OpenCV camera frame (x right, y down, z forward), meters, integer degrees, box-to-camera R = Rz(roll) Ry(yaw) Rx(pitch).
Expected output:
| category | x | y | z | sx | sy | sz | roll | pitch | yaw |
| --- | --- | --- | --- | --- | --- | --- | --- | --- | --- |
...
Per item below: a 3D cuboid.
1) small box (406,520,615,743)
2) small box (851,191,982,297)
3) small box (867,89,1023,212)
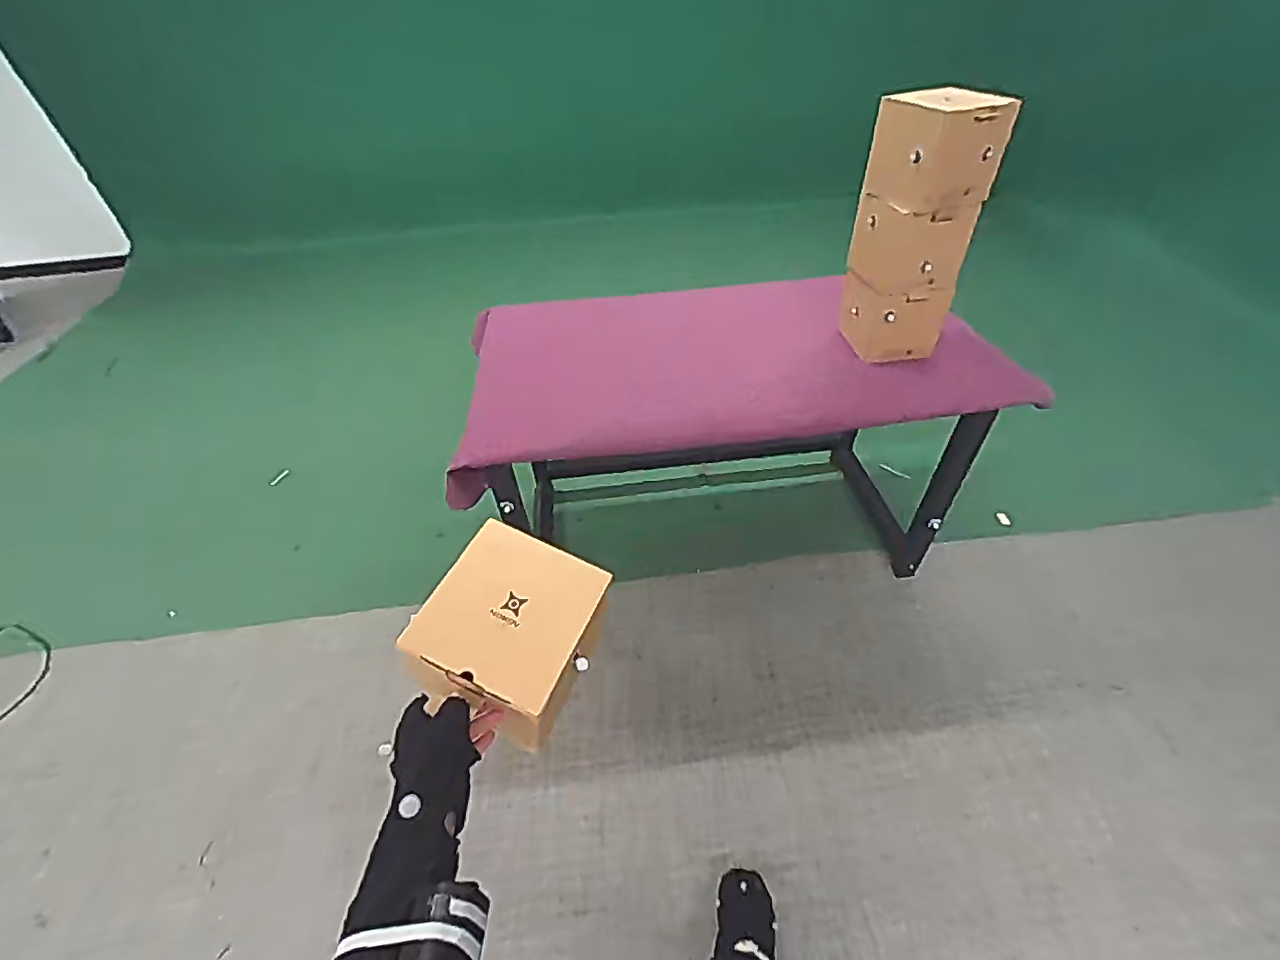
| category | x | y | z | sx | sy | sz | roll | pitch | yaw |
| --- | --- | --- | --- | --- | --- | --- | --- | --- | --- |
| small box | -0.148 | 0.187 | 0.654 | 0.168 | 0.176 | 0.179 | 24 | 54 | 7 |
| small box | 0.575 | -0.512 | 1.155 | 0.168 | 0.176 | 0.179 | -9 | 45 | -4 |
| small box | 0.573 | -0.629 | 1.041 | 0.168 | 0.176 | 0.179 | -16 | 45 | -13 |
